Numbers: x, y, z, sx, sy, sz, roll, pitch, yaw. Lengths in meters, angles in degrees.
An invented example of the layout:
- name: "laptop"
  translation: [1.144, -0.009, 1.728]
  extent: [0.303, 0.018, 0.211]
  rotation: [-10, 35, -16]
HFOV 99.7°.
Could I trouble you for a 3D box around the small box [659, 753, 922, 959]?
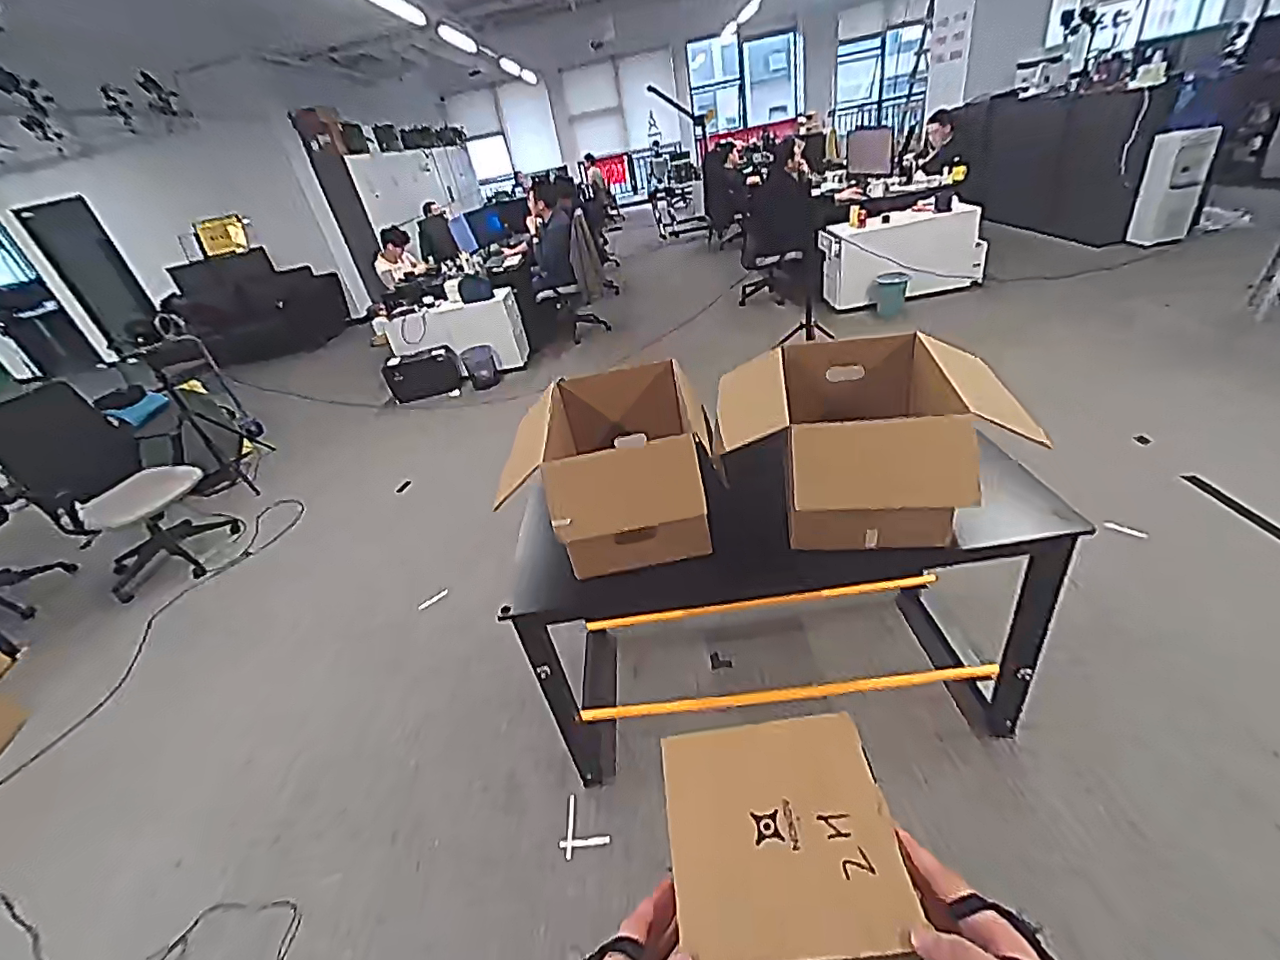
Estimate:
- name: "small box"
  translation: [0.120, 0.365, 0.471]
  extent: [0.179, 0.176, 0.168]
  rotation: [-9, 41, 4]
